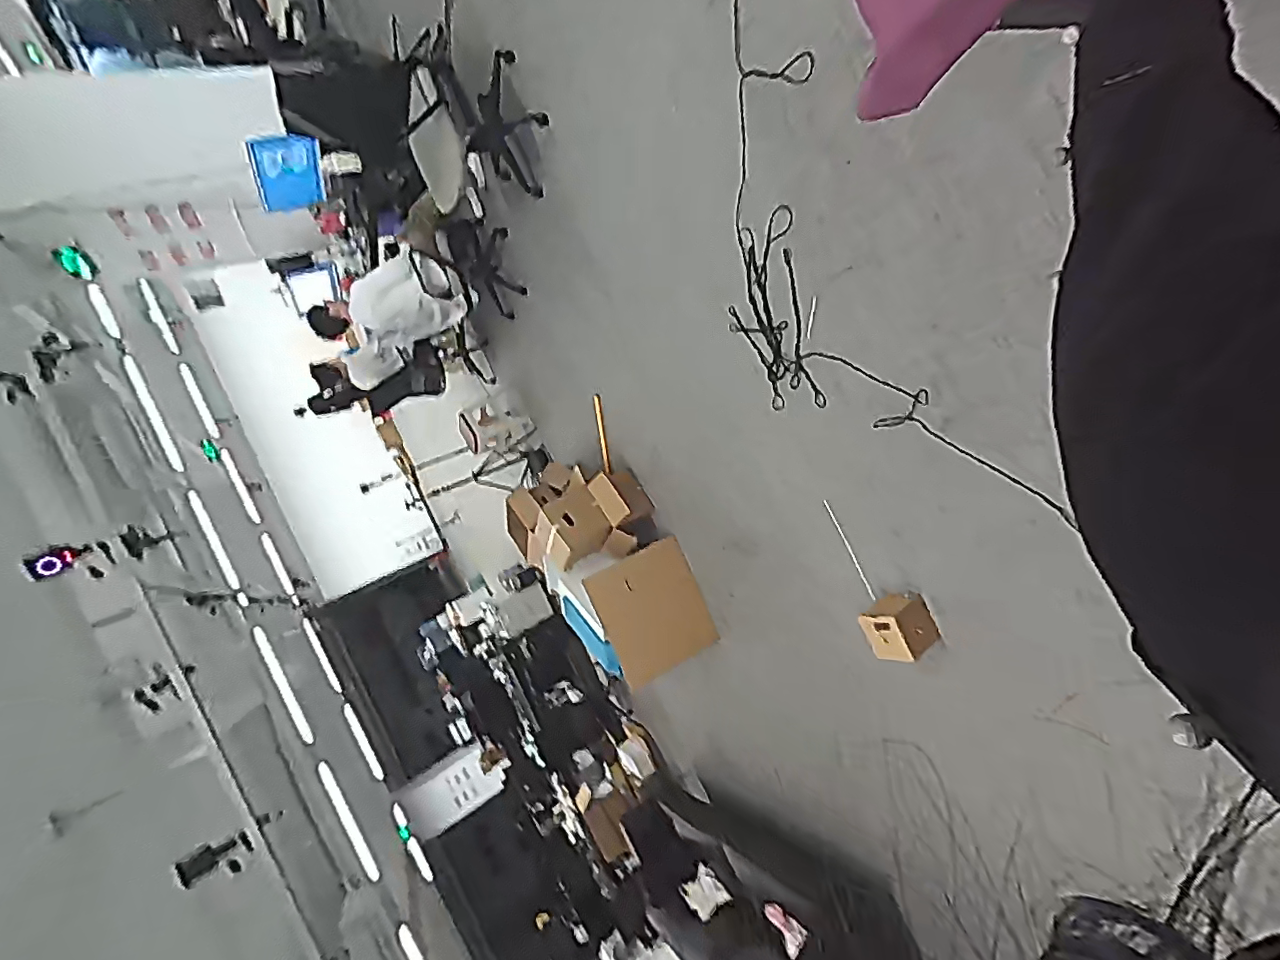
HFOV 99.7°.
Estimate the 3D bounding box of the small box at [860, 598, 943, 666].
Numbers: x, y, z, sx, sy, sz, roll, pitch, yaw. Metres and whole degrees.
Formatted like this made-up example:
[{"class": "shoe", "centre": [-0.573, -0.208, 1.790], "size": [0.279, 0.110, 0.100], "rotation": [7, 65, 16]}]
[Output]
[{"class": "small box", "centre": [0.932, 0.533, 1.926], "size": [0.179, 0.176, 0.168], "rotation": [64, 153, 0]}]
